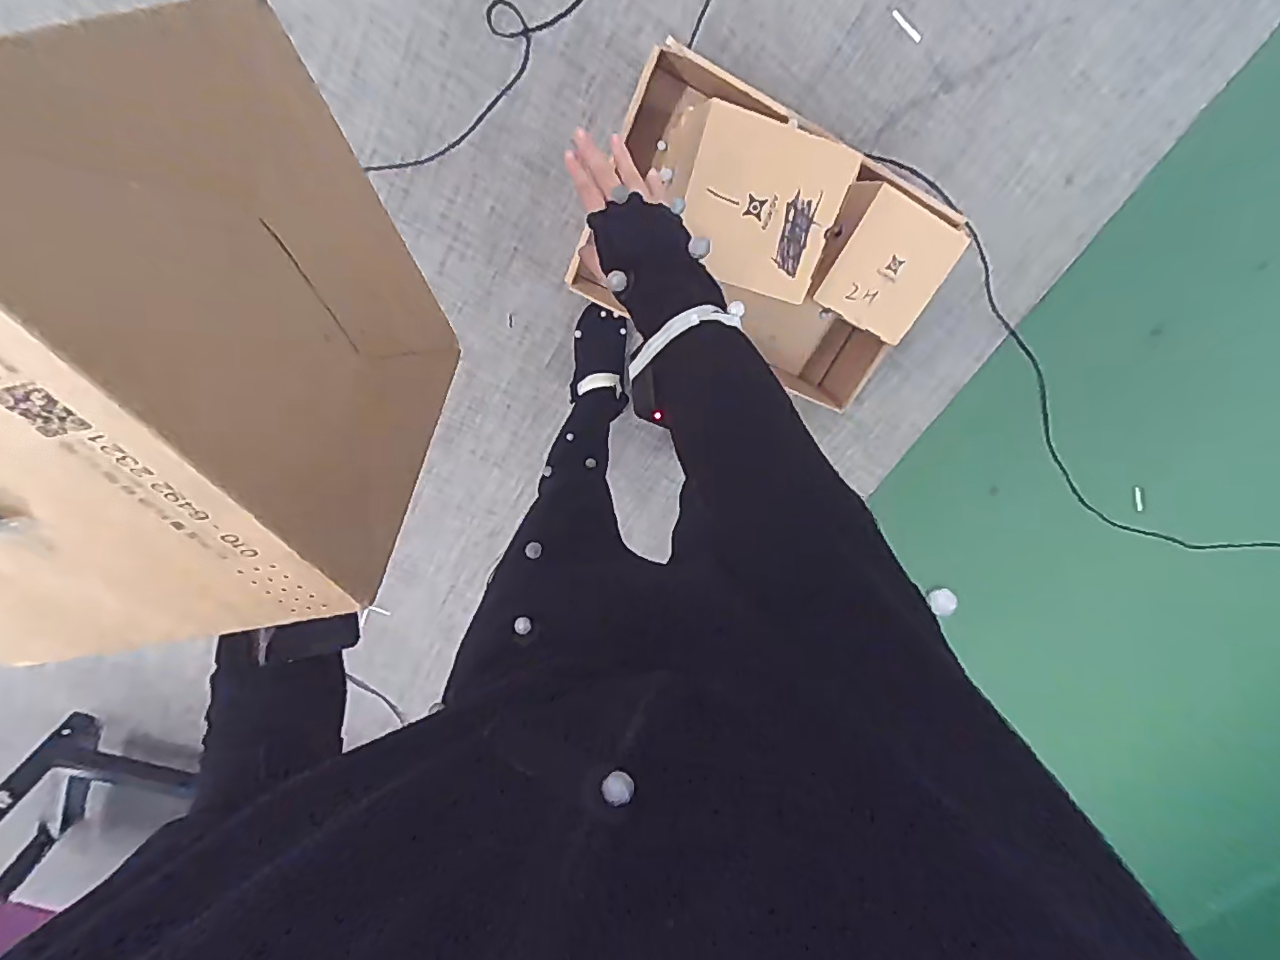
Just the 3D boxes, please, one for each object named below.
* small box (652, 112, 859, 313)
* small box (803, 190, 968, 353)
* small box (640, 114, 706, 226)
[{"bbox_3d":[0.124,-0.325,0.664,0.179,0.176,0.168,12,118,-11],"label":"small box"},{"bbox_3d":[0.359,-0.334,0.860,0.168,0.176,0.179,23,115,-15],"label":"small box"},{"bbox_3d":[0.111,-0.498,0.941,0.179,0.176,0.168,21,116,-16],"label":"small box"}]
